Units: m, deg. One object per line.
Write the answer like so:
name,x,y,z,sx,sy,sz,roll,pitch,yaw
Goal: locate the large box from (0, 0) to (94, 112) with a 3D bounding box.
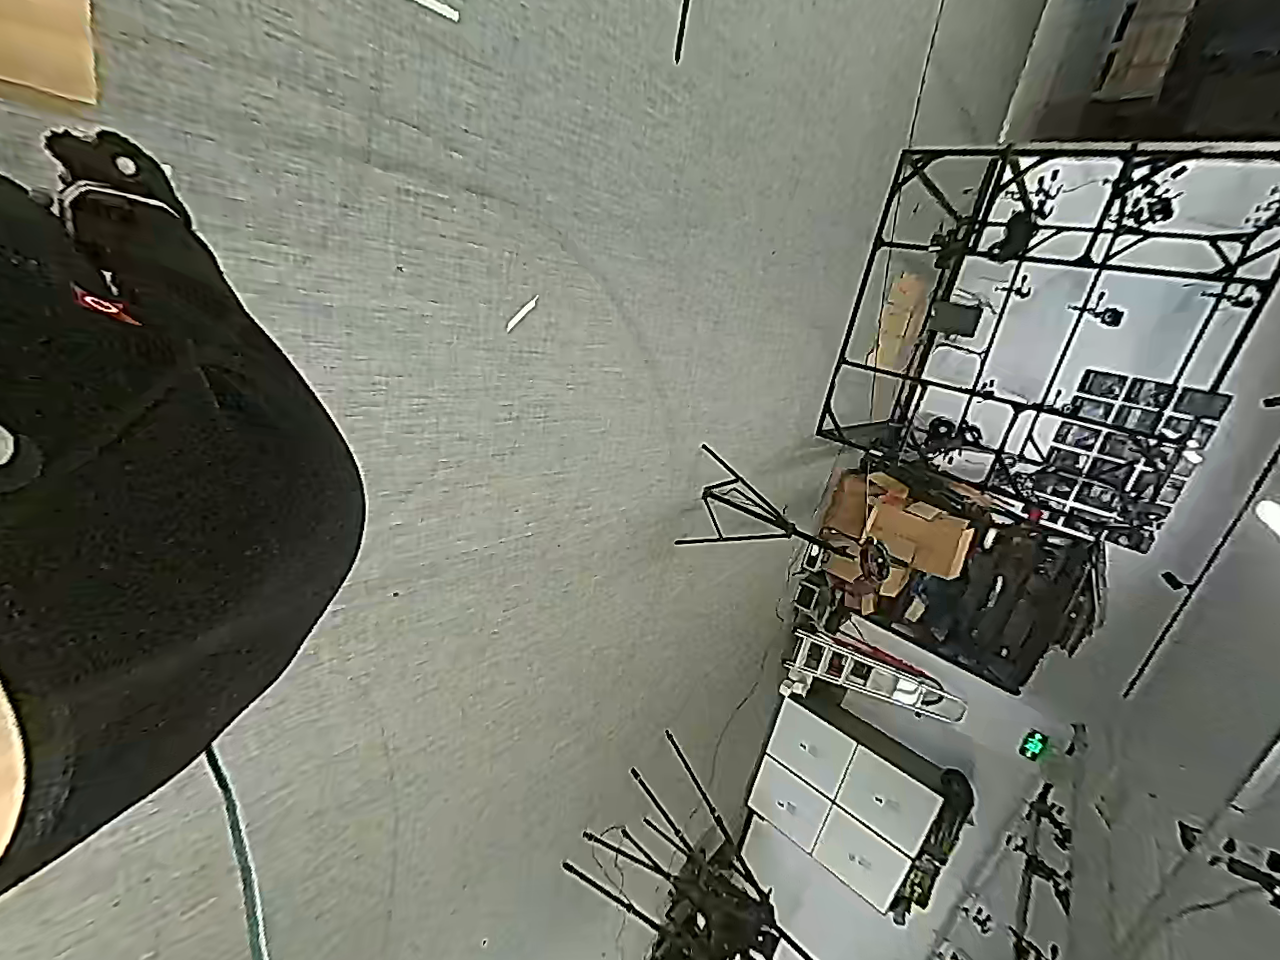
large box,-0.993,-0.702,0.657,0.408,0.320,0.320,-12,119,-51
